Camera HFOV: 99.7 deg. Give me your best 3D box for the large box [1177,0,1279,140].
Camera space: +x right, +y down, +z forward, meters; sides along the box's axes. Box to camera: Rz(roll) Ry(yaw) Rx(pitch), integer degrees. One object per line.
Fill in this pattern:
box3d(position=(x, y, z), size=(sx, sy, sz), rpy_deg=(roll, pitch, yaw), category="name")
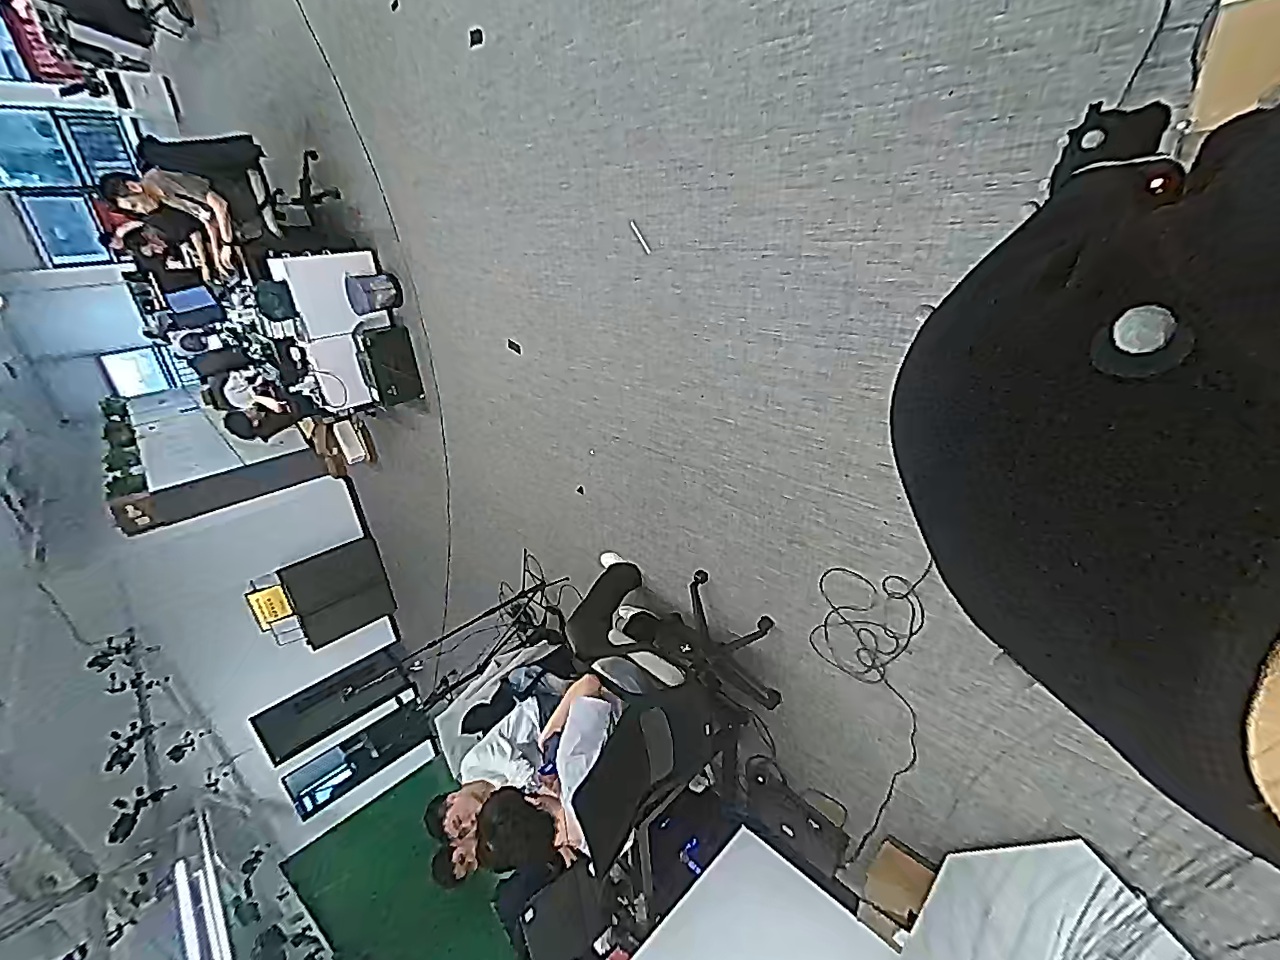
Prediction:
box3d(position=(1.013, -0.641, 0.678), size=(0.408, 0.320, 0.320), rpy_deg=(20, 125, 43), category="large box")
